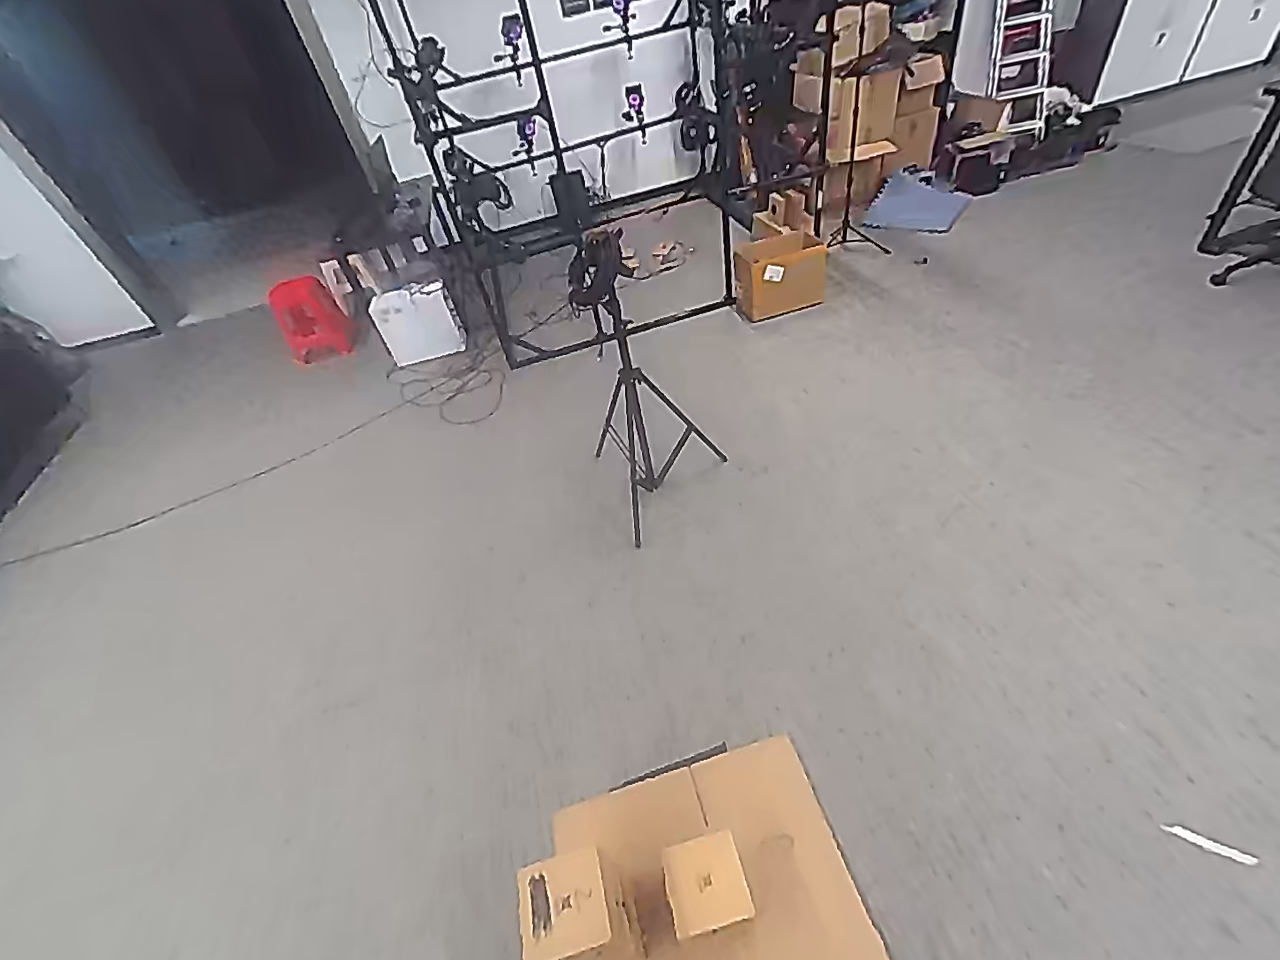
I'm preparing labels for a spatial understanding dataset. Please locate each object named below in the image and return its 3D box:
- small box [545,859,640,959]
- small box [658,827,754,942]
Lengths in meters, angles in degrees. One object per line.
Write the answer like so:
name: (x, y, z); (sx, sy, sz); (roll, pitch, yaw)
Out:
small box: (-0.104, 1.006, 1.240); (0.179, 0.176, 0.168); (-18, 43, -3)
small box: (0.152, 0.938, 1.252); (0.179, 0.176, 0.168); (-16, 44, -3)
